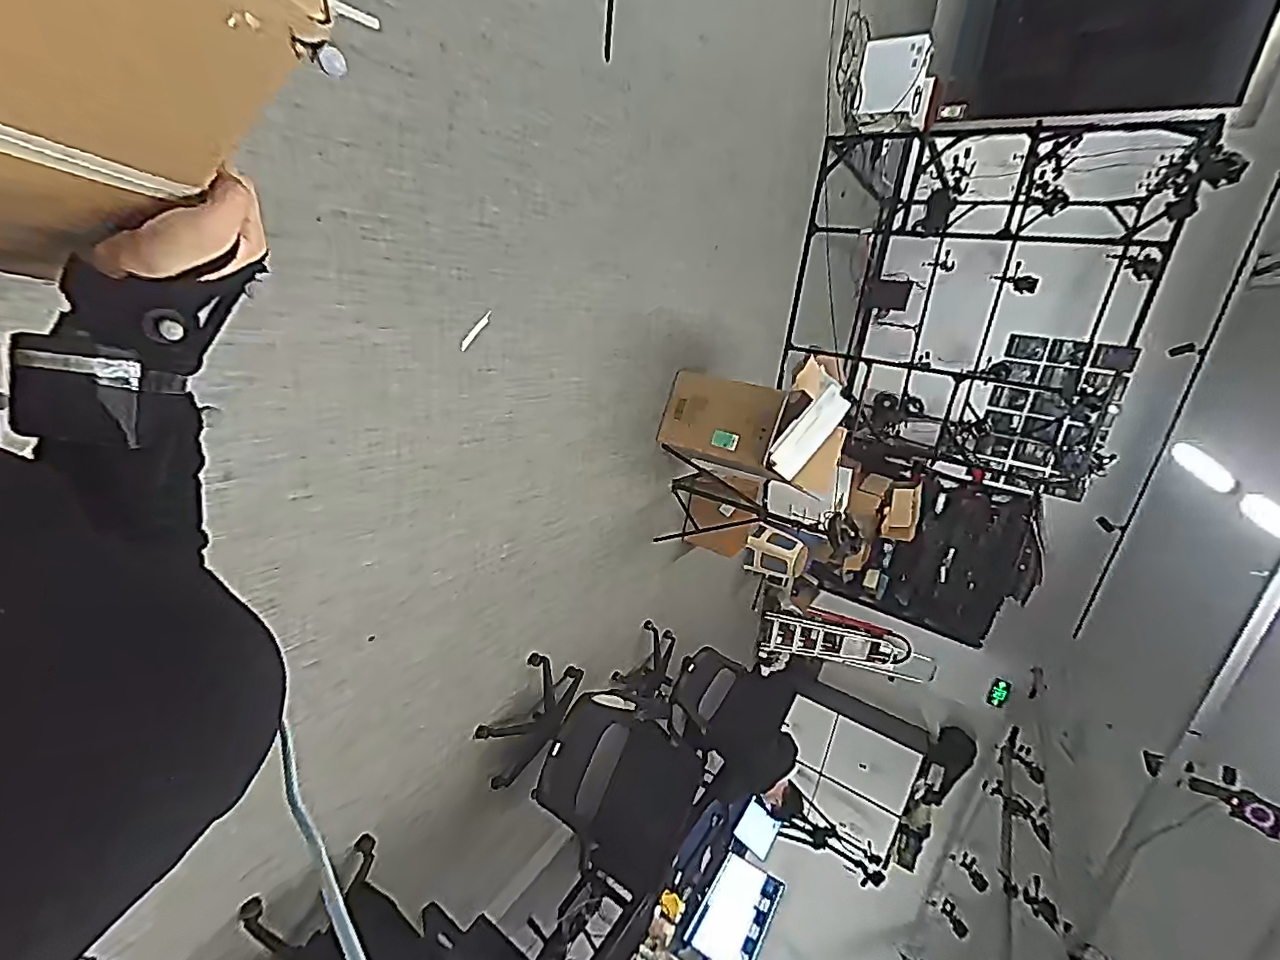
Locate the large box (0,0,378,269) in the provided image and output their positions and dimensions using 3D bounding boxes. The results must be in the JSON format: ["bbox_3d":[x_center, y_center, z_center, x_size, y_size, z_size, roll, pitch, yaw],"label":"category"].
[{"bbox_3d":[-0.374,-0.325,0.168,0.408,0.320,0.320,-5,83,-58],"label":"large box"}]
